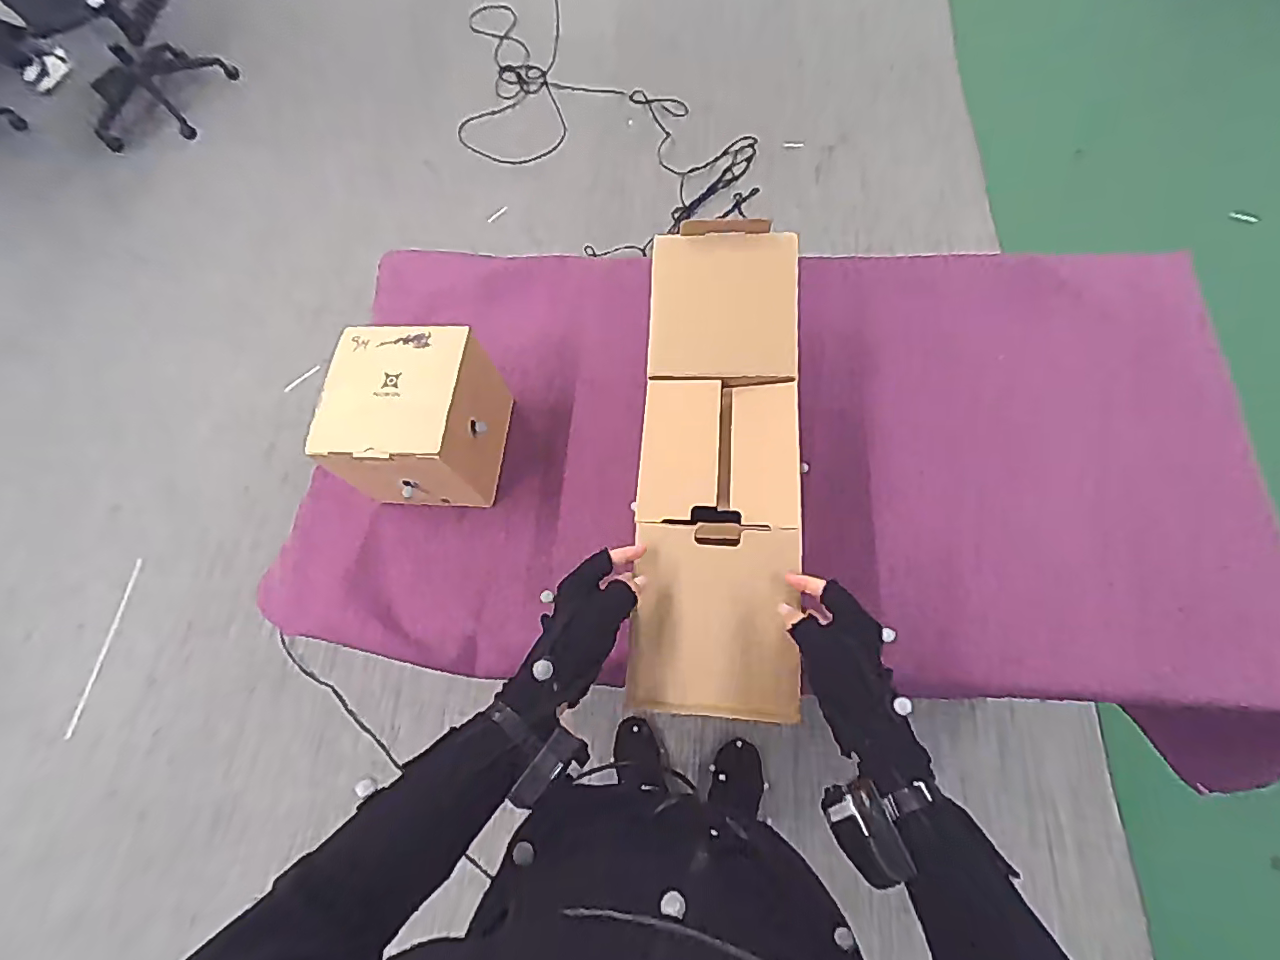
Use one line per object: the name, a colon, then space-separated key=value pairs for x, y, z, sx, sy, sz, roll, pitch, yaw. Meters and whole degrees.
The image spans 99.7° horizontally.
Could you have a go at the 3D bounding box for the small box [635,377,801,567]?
small box: x=0.092 y=-0.001 z=0.632 sx=0.168 sy=0.176 sz=0.179 roll=2 pitch=68 yaw=7

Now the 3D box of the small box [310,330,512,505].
small box: x=-0.279 y=-0.074 z=0.705 sx=0.168 sy=0.176 sz=0.179 roll=2 pitch=68 yaw=7
